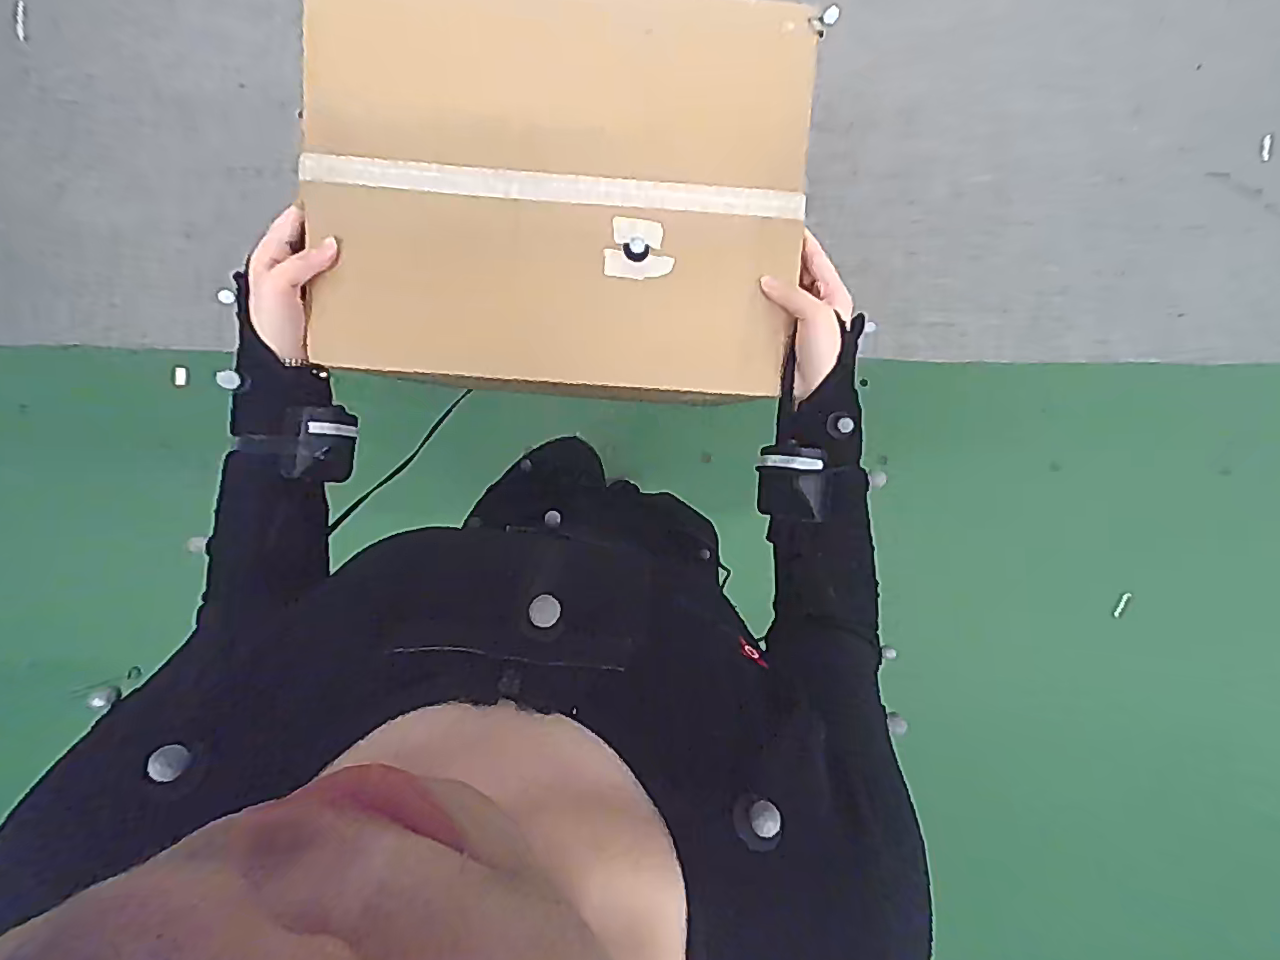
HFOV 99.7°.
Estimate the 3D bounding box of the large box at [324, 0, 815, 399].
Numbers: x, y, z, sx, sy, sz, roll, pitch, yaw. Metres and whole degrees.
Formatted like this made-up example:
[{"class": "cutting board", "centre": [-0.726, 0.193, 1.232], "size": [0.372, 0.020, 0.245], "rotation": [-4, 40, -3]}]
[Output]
[{"class": "large box", "centre": [-0.069, -0.260, 0.599], "size": [0.408, 0.320, 0.320], "rotation": [3, 97, -4]}]
